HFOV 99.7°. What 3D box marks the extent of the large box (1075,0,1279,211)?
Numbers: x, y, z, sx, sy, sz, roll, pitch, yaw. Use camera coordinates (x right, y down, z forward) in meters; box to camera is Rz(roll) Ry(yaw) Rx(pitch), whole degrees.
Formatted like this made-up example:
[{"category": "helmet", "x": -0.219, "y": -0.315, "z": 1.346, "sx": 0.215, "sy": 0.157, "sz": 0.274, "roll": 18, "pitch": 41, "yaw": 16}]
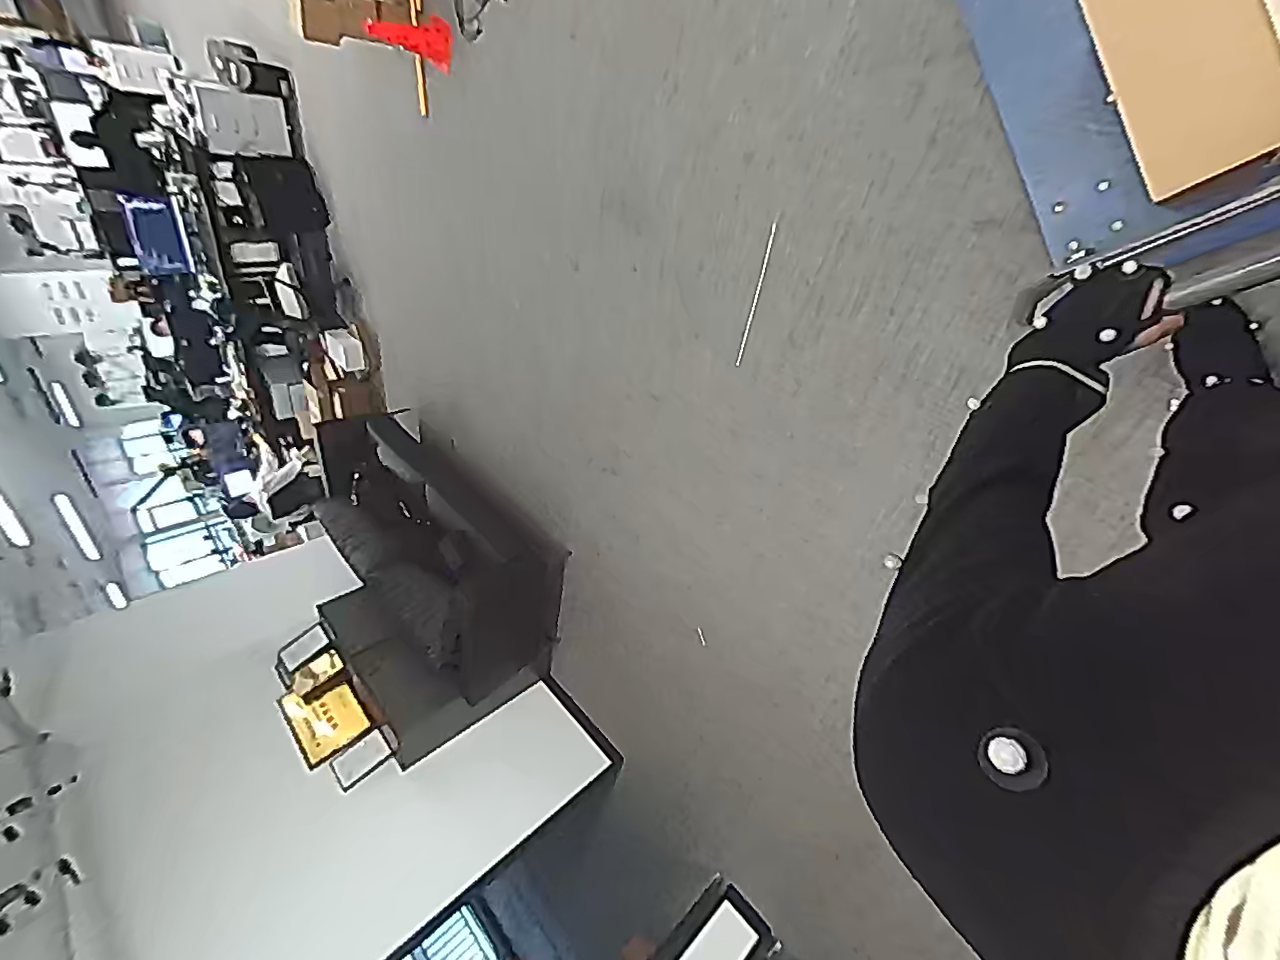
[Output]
[{"category": "large box", "x": 0.891, "y": -0.664, "z": 0.777, "sx": 0.320, "sy": 0.320, "sz": 0.408, "roll": -20, "pitch": 91, "yaw": 49}]
